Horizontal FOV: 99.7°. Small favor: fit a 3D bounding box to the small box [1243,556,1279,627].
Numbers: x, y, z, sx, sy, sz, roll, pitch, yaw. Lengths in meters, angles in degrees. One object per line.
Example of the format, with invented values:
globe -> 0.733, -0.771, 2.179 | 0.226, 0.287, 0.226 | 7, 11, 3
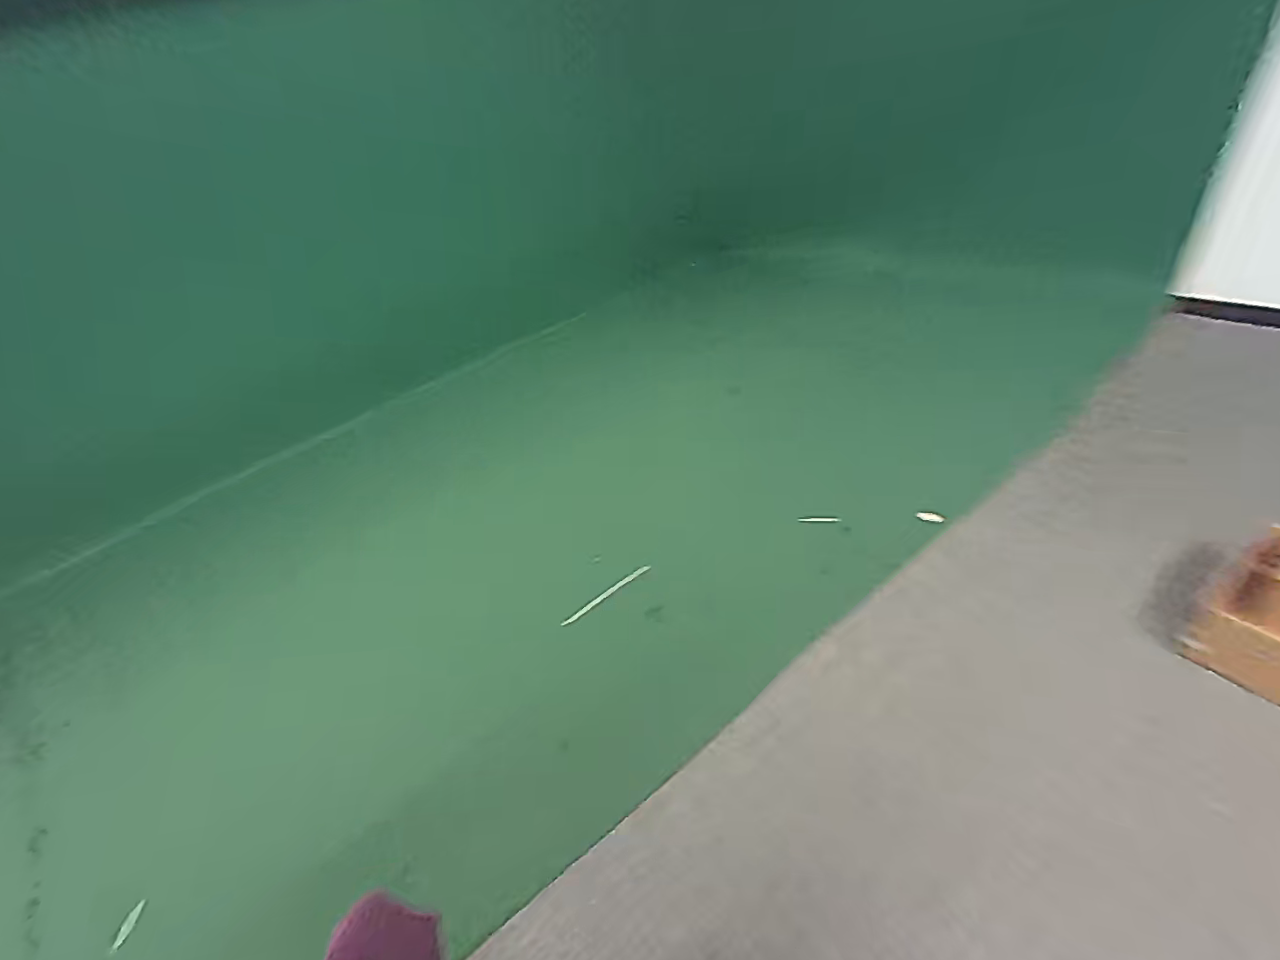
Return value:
small box -> 1.649, 0.273, 1.323 | 0.179, 0.176, 0.168 | -31, 42, -17
